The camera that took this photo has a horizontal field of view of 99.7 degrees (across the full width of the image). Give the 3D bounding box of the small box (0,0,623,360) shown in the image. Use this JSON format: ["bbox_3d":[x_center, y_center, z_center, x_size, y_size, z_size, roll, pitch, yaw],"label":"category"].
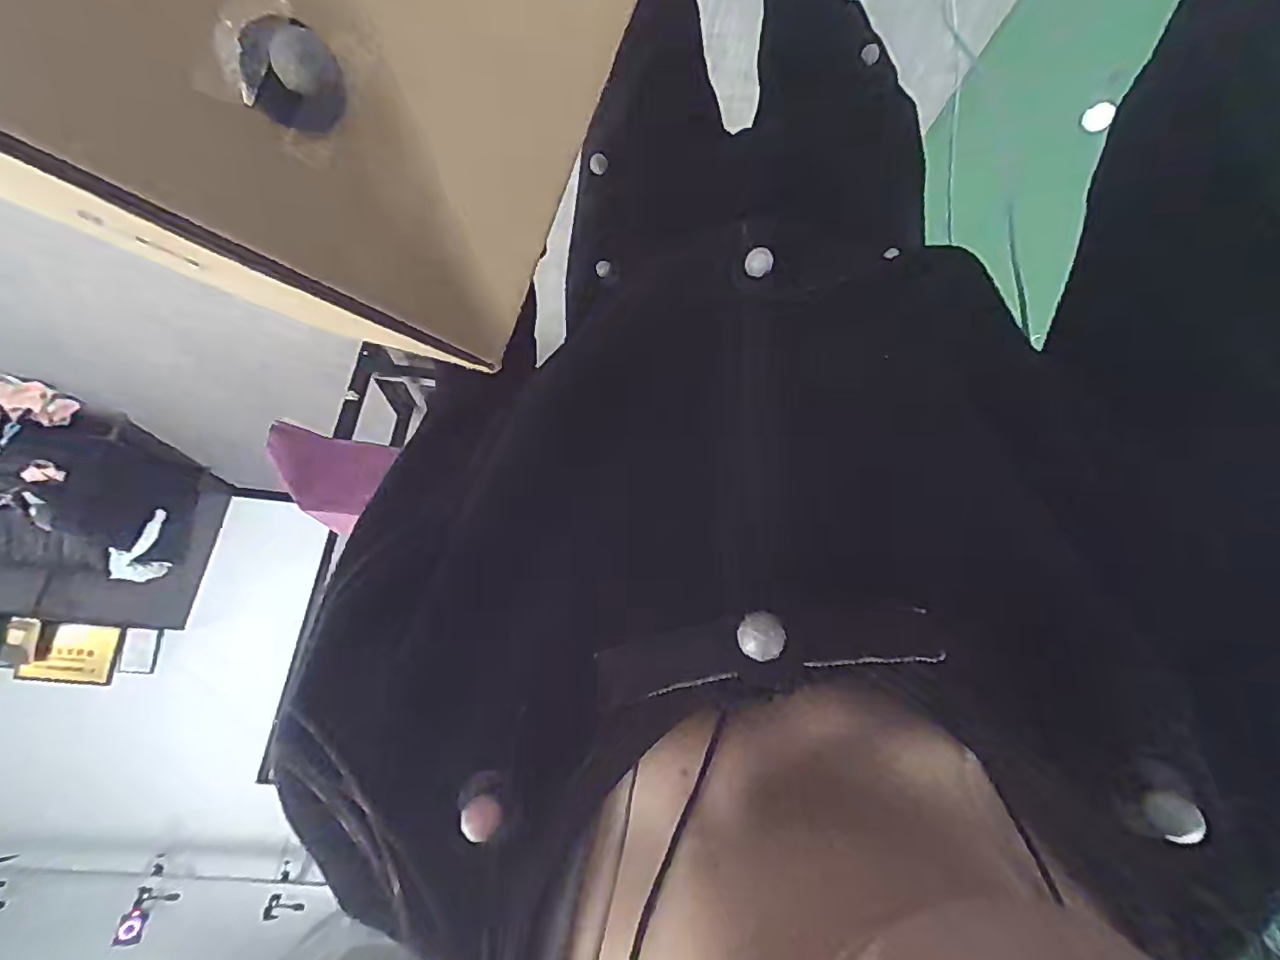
[{"bbox_3d":[-0.124,-0.157,0.163,0.168,0.176,0.179,19,178,41],"label":"small box"}]
